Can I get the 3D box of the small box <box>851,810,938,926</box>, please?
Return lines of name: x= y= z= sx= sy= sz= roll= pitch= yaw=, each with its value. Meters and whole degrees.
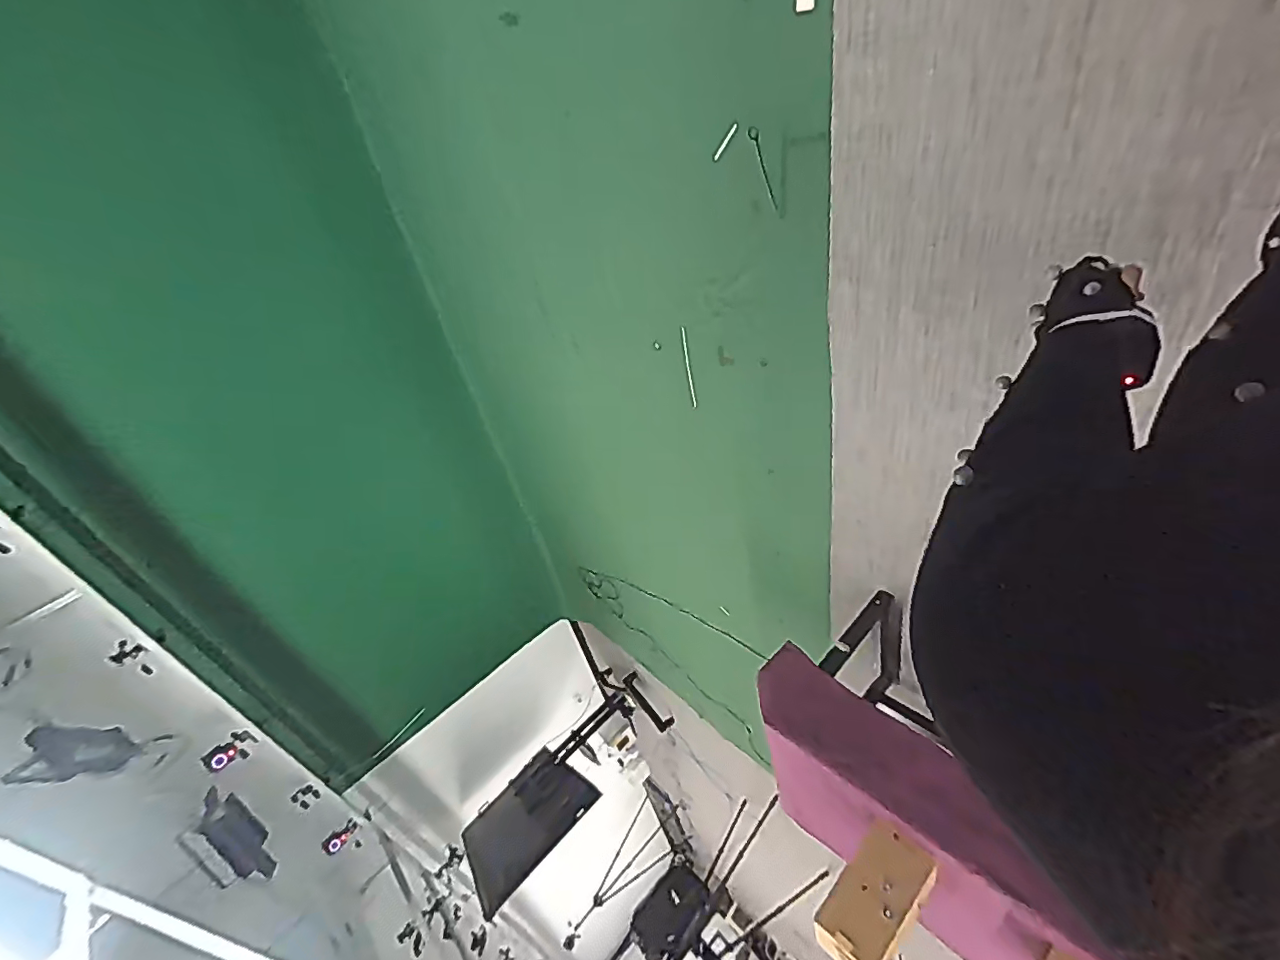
small box: x=0.708 y=1.072 z=1.503 sx=0.168 sy=0.176 sz=0.179 roll=22 pitch=140 yaw=44

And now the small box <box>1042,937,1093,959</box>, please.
small box: x=0.984 y=1.185 z=1.207 sx=0.168 sy=0.176 sz=0.179 roll=23 pitch=140 yaw=44

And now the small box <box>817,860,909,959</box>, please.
small box: x=0.591 y=1.160 z=1.429 sx=0.168 sy=0.176 sz=0.179 roll=23 pitch=140 yaw=45
